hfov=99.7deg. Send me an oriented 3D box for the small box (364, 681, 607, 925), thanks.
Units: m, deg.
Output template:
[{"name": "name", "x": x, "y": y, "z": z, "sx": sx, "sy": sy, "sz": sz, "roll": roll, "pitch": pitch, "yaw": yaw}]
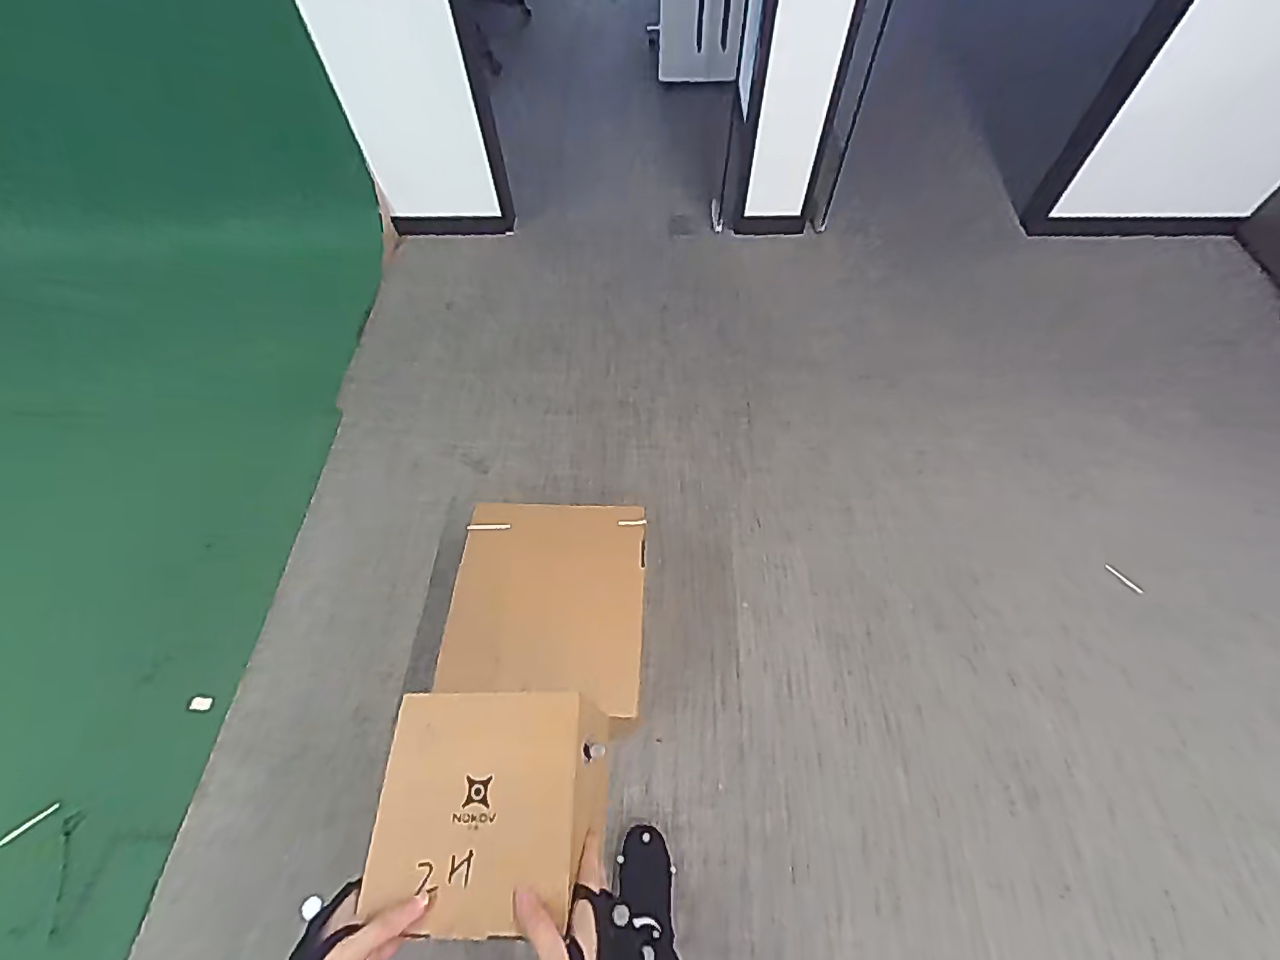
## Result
[{"name": "small box", "x": -0.126, "y": 0.303, "z": 0.524, "sx": 0.168, "sy": 0.176, "sz": 0.179, "roll": -2, "pitch": 60, "yaw": 5}]
